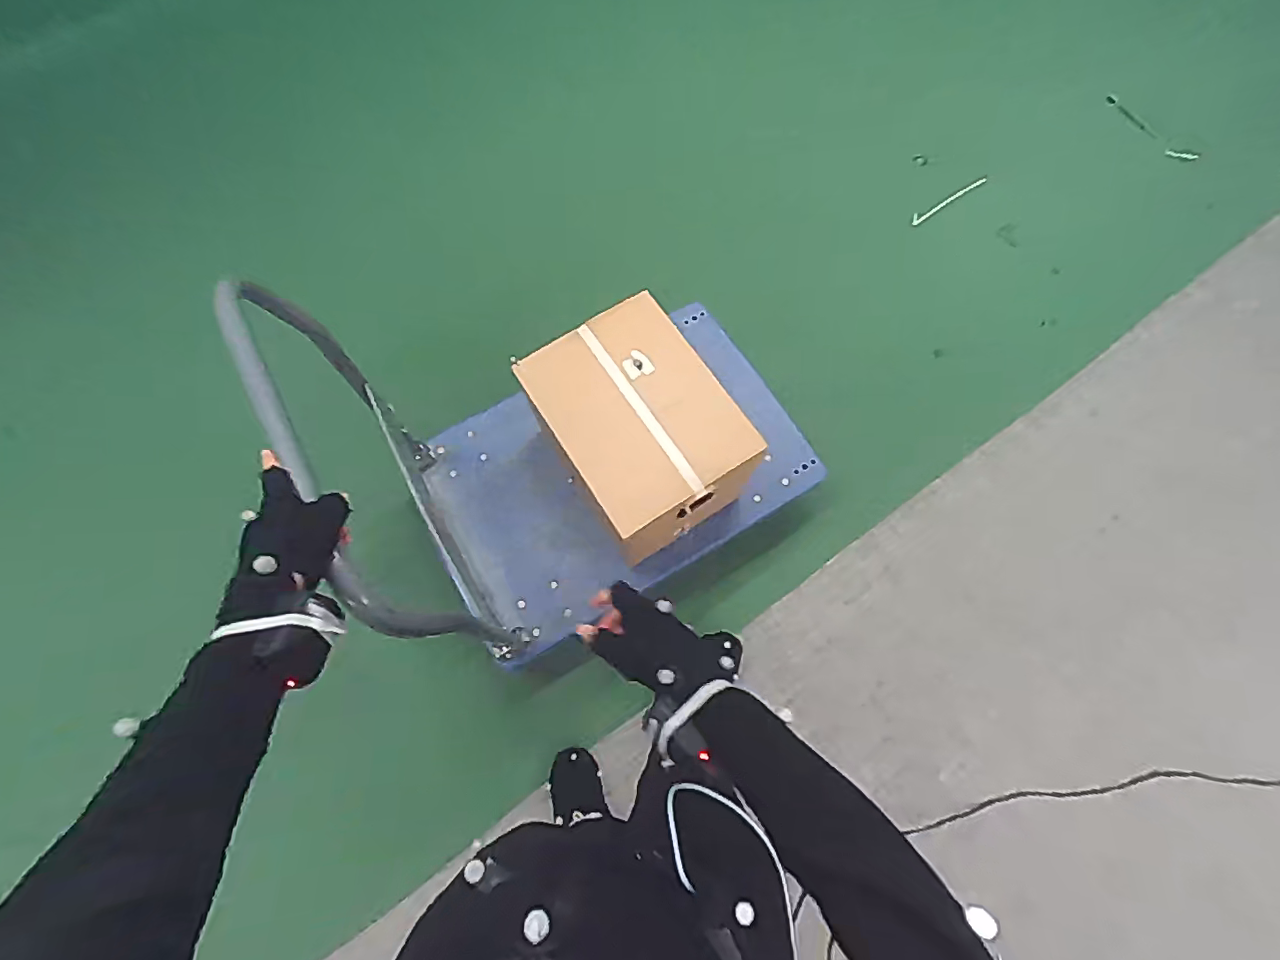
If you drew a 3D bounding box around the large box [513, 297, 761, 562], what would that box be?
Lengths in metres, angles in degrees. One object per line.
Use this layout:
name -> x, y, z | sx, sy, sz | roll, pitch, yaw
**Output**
large box -> -0.007, -0.091, 1.156 | 0.320, 0.320, 0.408 | -32, 74, -10
